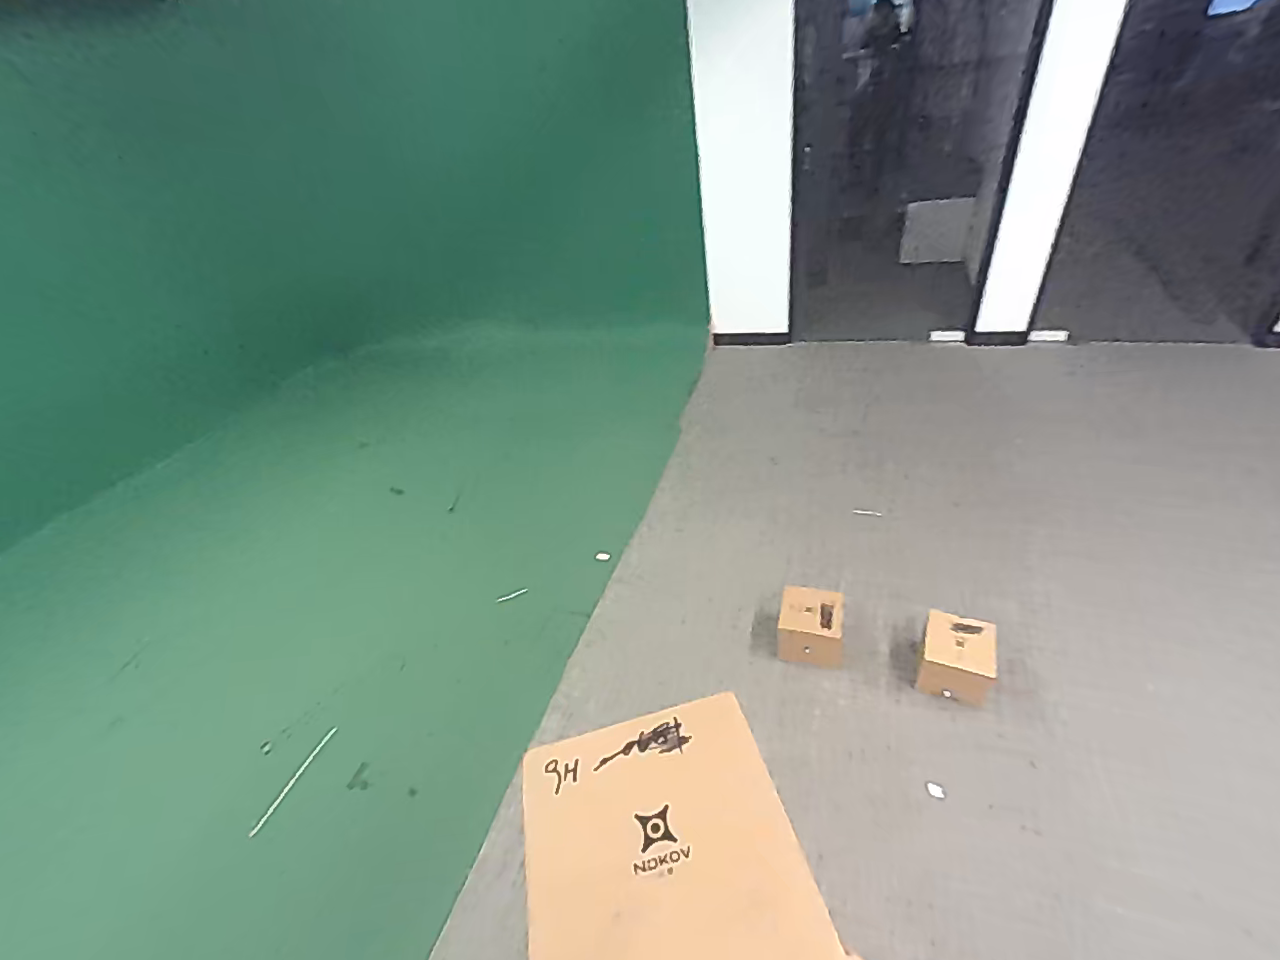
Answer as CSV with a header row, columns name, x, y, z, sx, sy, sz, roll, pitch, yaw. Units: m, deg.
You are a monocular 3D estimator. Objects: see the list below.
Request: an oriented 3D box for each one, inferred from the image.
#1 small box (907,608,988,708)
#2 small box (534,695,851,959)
name,x,y,z,sx,sy,sz,roll,pitch,yaw
small box,0.855,0.496,1.509,0.168,0.176,0.179,11,44,24
small box,0.029,0.292,0.379,0.168,0.176,0.179,-13,35,-6
